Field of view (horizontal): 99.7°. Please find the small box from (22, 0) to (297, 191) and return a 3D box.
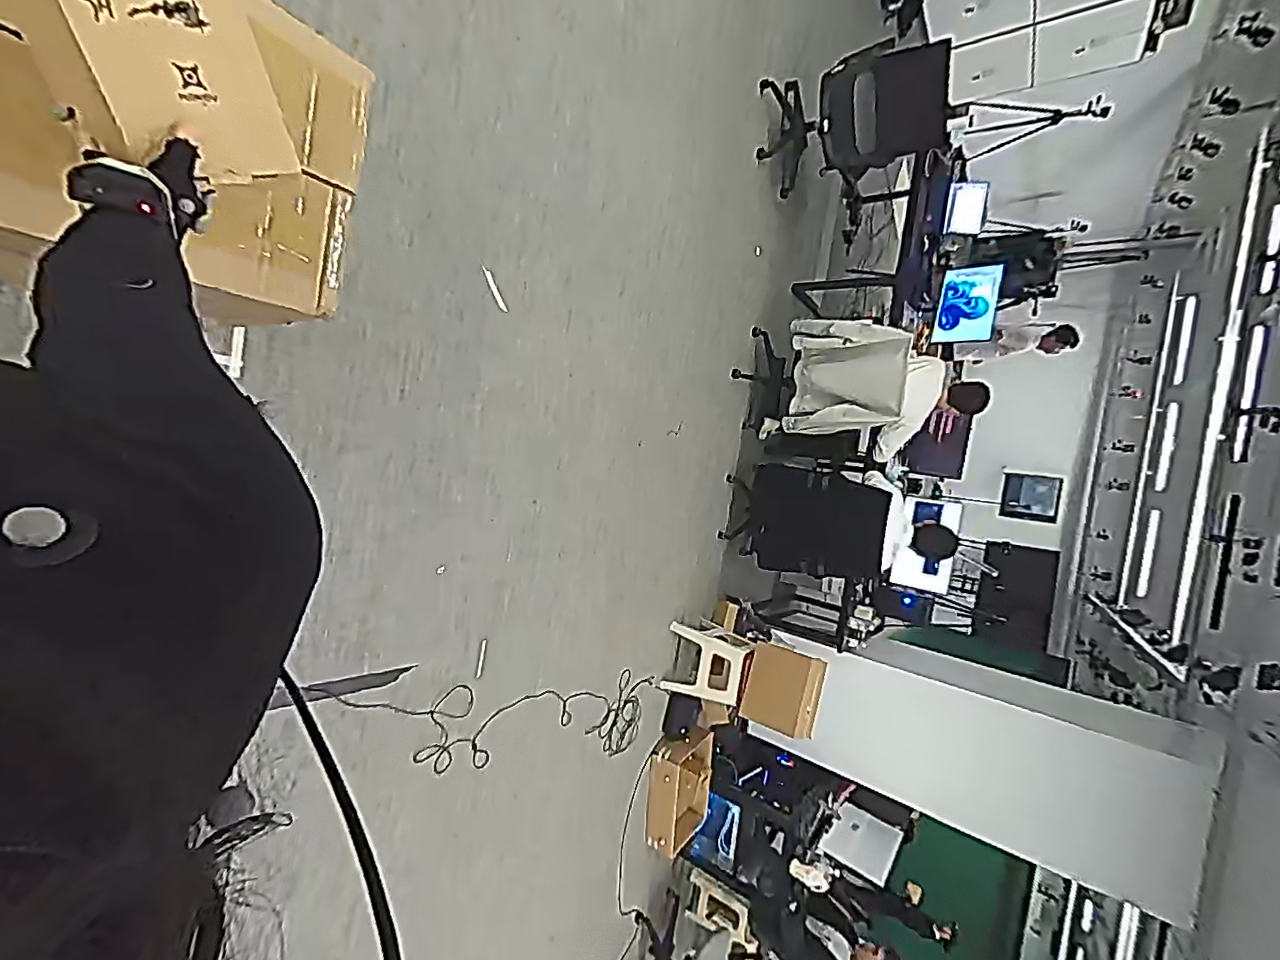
[{"bbox_3d":[-0.540,-0.436,0.618,0.168,0.176,0.179,-35,127,-44],"label":"small box"}]
